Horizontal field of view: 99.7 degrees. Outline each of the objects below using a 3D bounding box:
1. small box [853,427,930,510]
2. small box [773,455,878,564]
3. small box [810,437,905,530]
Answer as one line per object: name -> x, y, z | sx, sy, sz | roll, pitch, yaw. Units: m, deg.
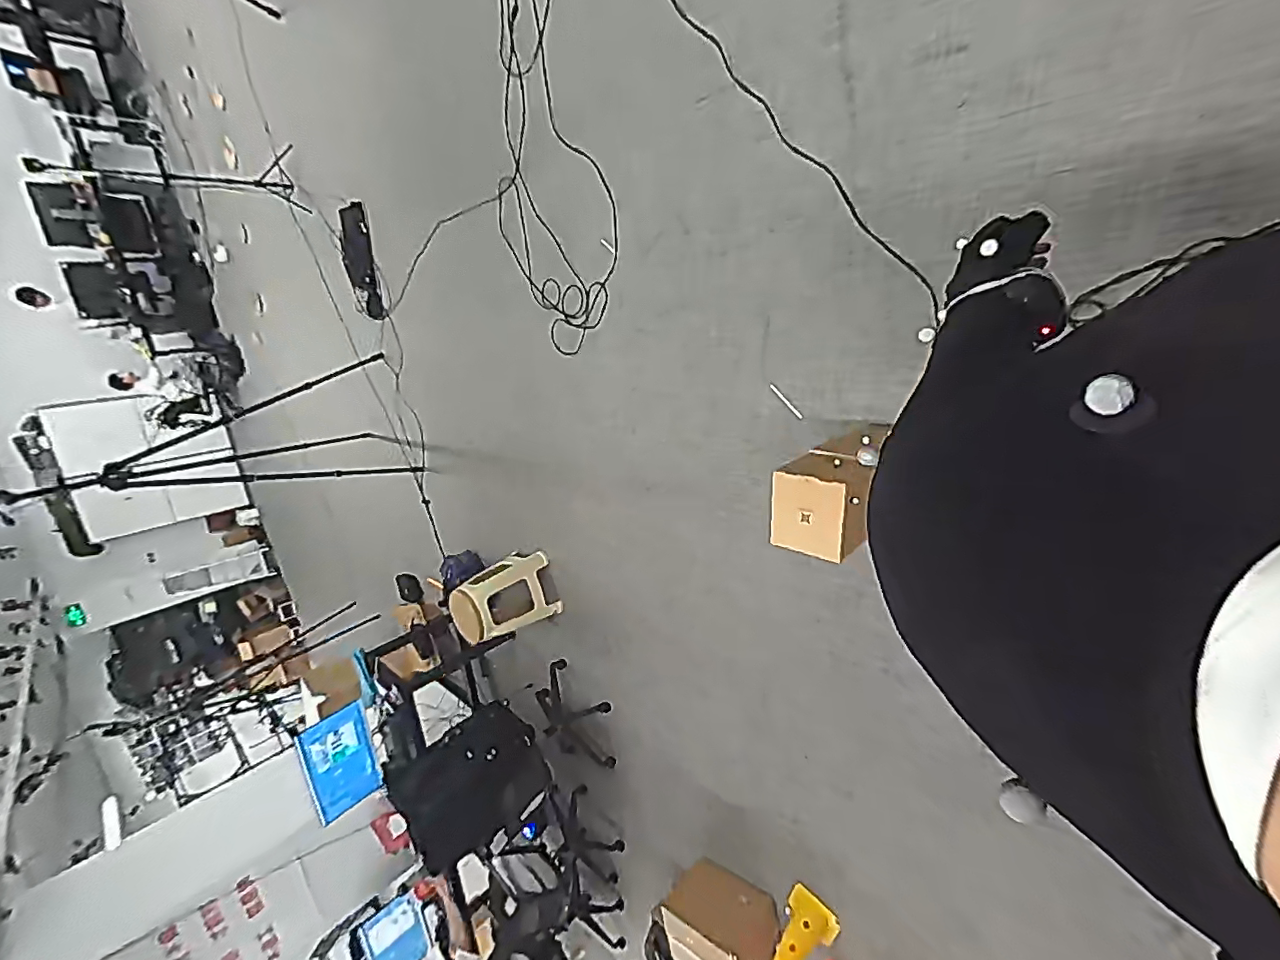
small box -> 0.641, -0.038, 1.416 | 0.179, 0.176, 0.168 | 13, 114, 42
small box -> 0.413, 0.057, 1.201 | 0.168, 0.176, 0.179 | 14, 114, 42
small box -> 0.523, 0.005, 1.309 | 0.168, 0.176, 0.179 | 14, 115, 42
